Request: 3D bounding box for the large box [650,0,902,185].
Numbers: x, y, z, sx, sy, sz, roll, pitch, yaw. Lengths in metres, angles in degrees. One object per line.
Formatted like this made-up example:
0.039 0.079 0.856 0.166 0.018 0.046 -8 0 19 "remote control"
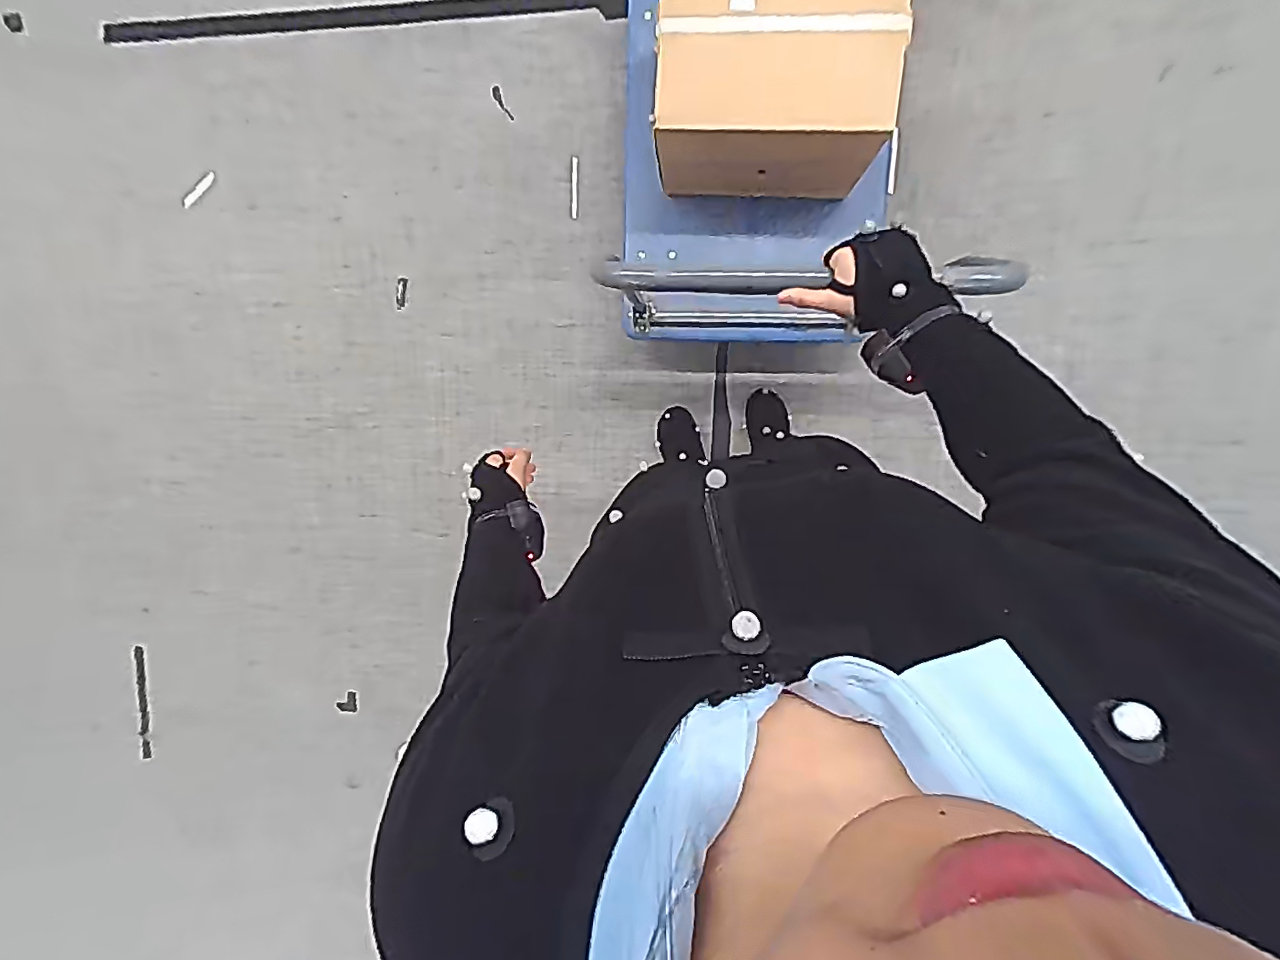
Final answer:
0.235 -0.776 1.014 0.408 0.320 0.320 2 98 7 "large box"
